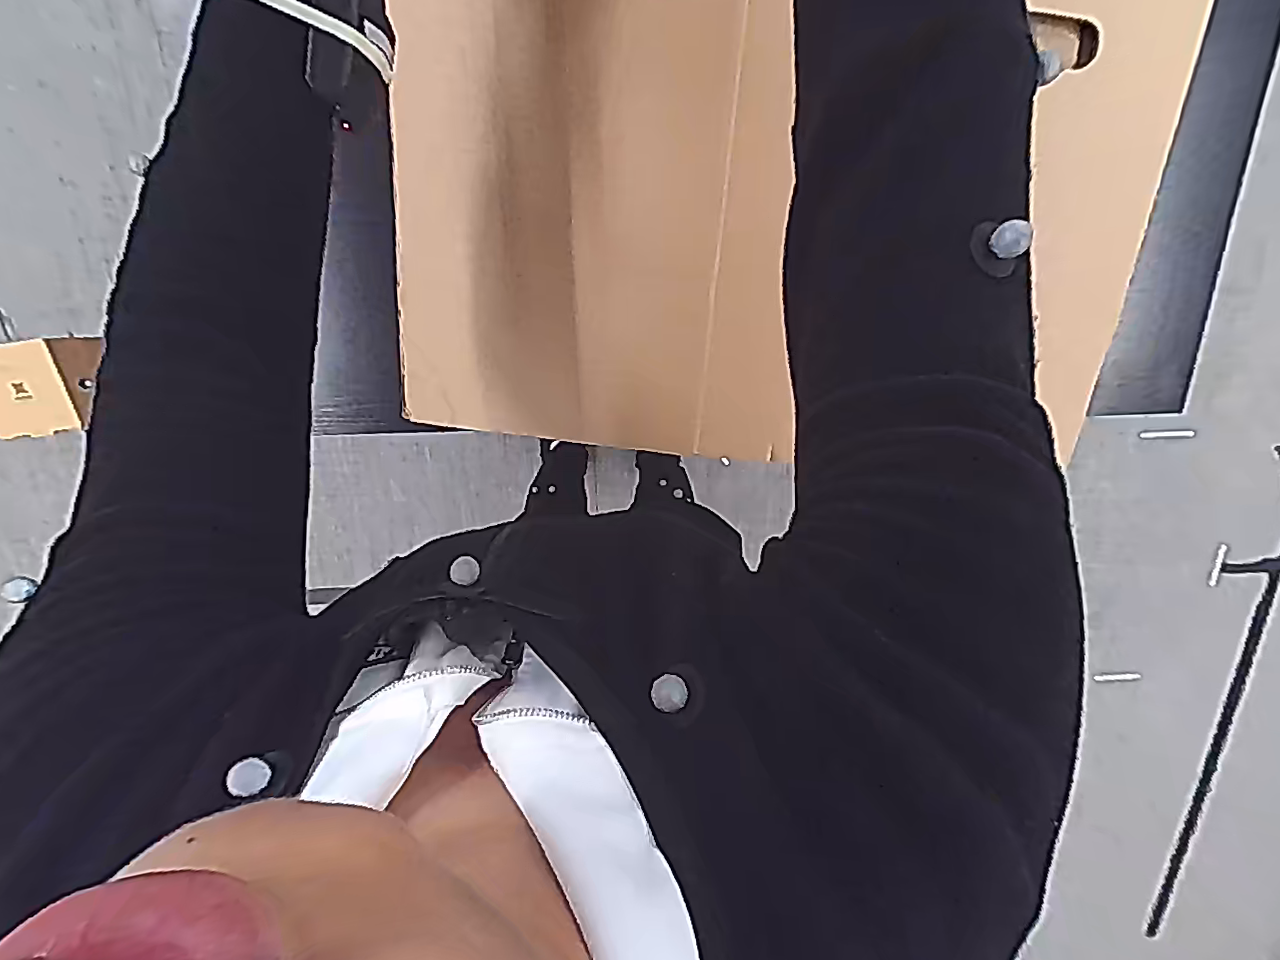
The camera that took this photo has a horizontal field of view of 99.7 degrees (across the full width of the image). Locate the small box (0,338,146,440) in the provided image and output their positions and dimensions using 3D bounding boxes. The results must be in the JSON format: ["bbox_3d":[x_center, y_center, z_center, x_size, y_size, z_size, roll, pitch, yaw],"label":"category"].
[{"bbox_3d":[-1.179,-0.192,1.107,0.168,0.176,0.179,-9,105,-1],"label":"small box"}]
